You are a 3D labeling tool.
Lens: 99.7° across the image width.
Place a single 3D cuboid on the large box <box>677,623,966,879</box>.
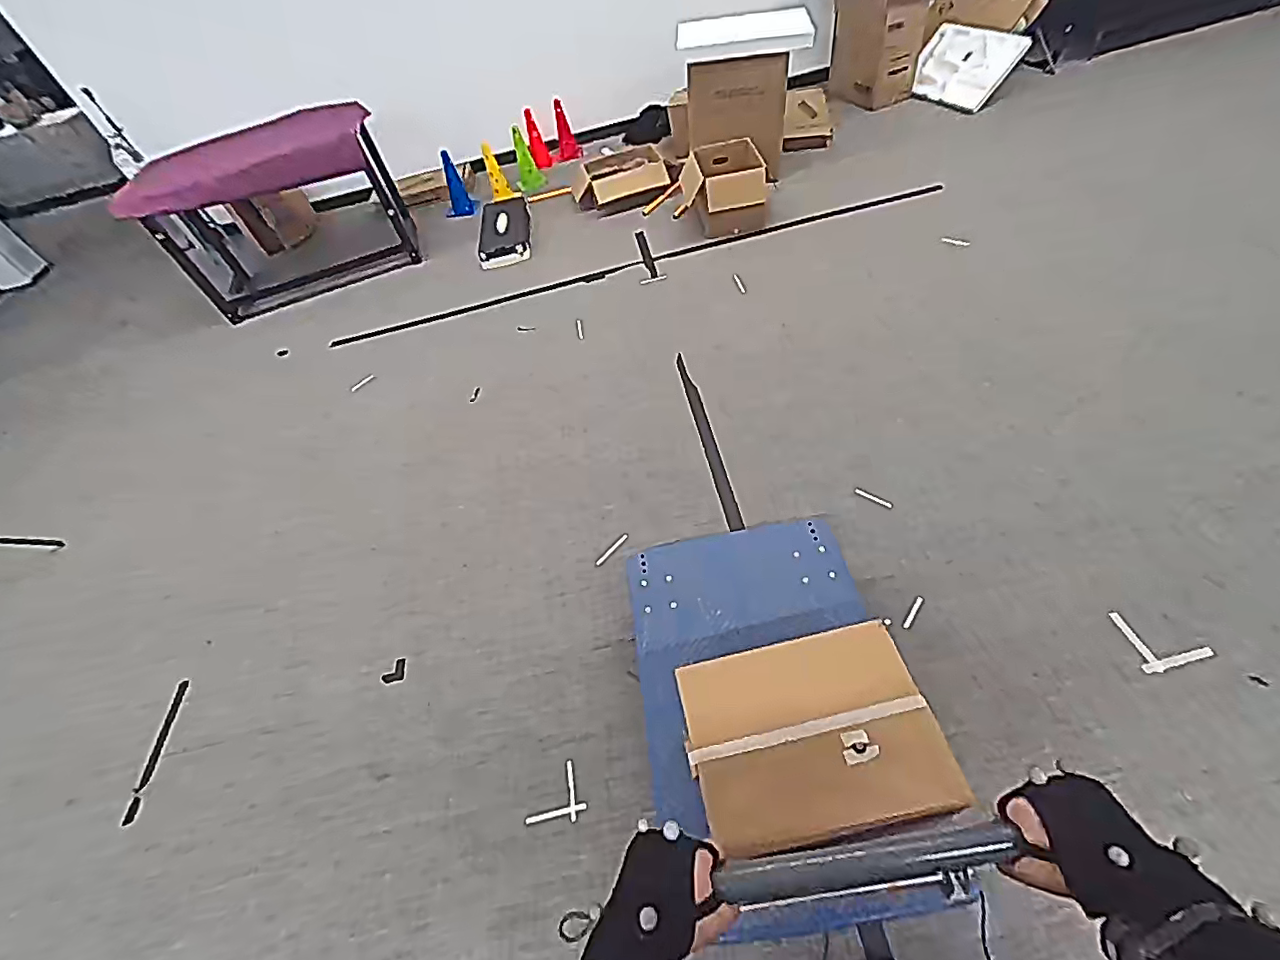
[{"bbox_3d":[0.312,0.527,1.045,0.408,0.320,0.320,-14,50,0],"label":"large box"}]
